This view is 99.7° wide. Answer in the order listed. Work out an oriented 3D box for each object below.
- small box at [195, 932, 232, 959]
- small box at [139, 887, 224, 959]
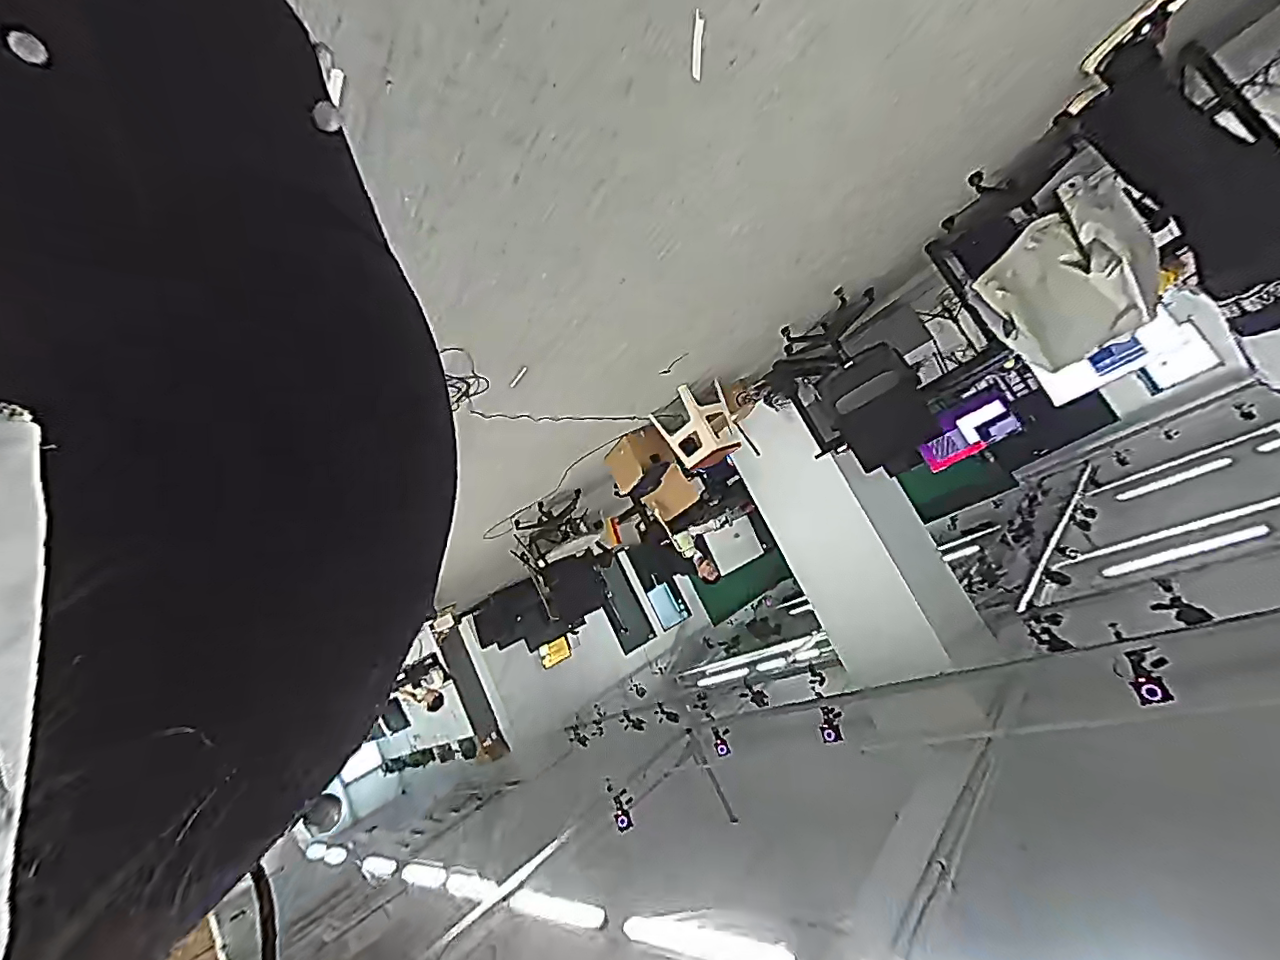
[{"bbox_3d":[-1.408,1.599,1.716,0.179,0.176,0.168,-18,169,-39],"label":"small box"},{"bbox_3d":[-1.477,1.455,1.747,0.179,0.176,0.168,-17,168,-41],"label":"small box"}]
